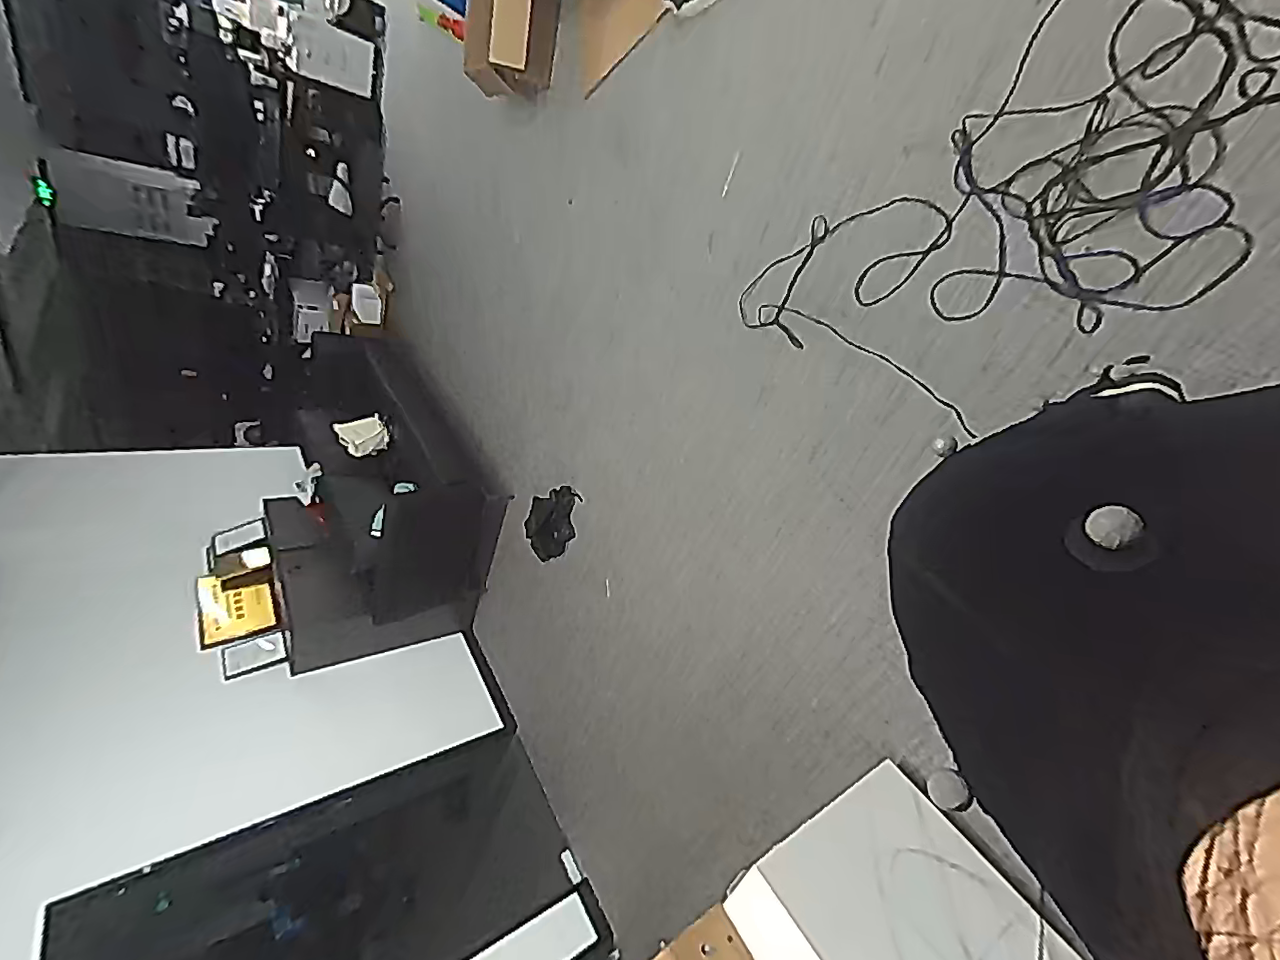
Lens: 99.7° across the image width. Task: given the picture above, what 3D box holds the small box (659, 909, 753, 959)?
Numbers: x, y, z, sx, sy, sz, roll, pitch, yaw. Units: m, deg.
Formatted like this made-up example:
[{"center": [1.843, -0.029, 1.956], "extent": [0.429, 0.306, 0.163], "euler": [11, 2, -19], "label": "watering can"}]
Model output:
[{"center": [0.136, 1.047, 1.124], "extent": [0.168, 0.176, 0.179], "euler": [49, 130, 37], "label": "small box"}]
